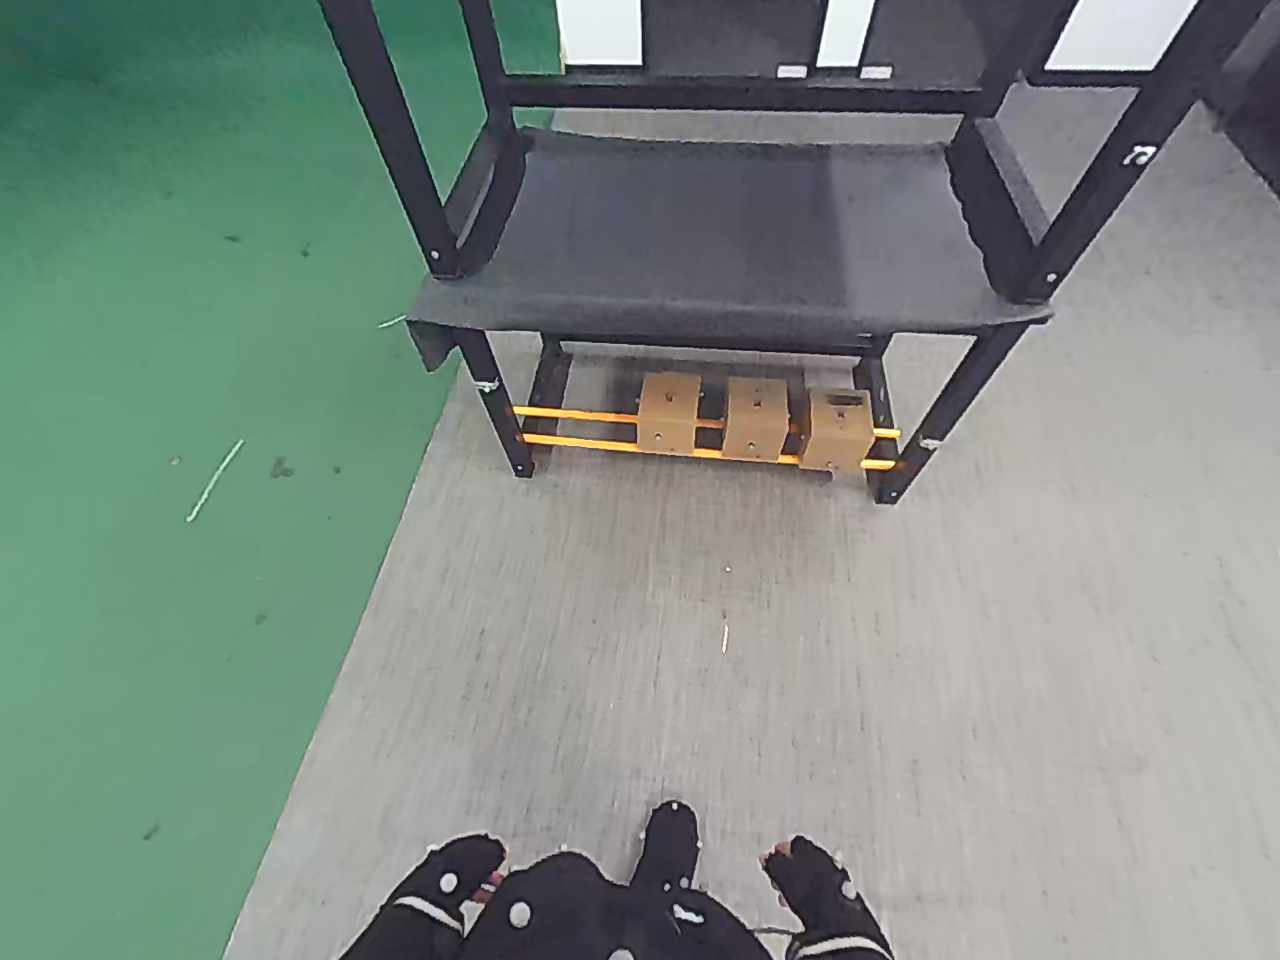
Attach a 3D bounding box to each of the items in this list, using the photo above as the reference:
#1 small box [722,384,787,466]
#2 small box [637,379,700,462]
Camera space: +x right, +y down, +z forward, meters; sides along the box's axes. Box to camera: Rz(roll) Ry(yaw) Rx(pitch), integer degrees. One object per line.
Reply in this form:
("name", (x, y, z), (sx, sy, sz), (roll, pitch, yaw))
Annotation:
("small box", (0.330, -0.156, 1.576), (0.168, 0.176, 0.179), (4, 58, 5))
("small box", (0.084, -0.171, 1.595), (0.168, 0.176, 0.179), (6, 59, 4))
